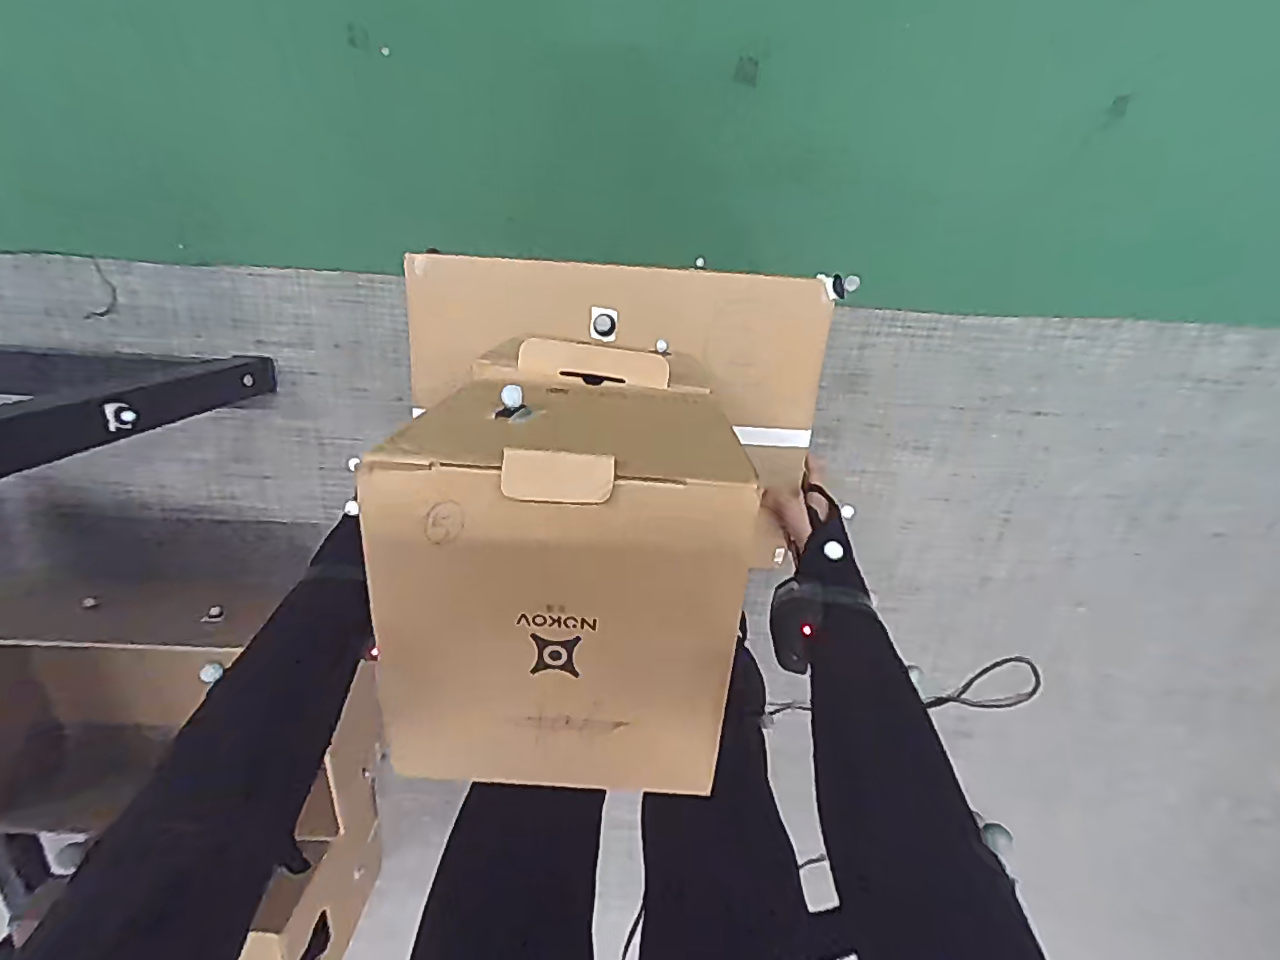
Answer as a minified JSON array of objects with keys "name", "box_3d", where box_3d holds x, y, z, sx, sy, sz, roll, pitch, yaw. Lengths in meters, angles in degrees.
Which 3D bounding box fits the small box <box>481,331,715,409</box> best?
[{"name":"small box","box_3d":[-0.040,-0.026,0.473,0.168,0.176,0.179,8,112,-3]}]

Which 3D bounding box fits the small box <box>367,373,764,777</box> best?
[{"name":"small box","box_3d":[-0.037,0.039,0.323,0.168,0.176,0.179,5,112,-1]}]
